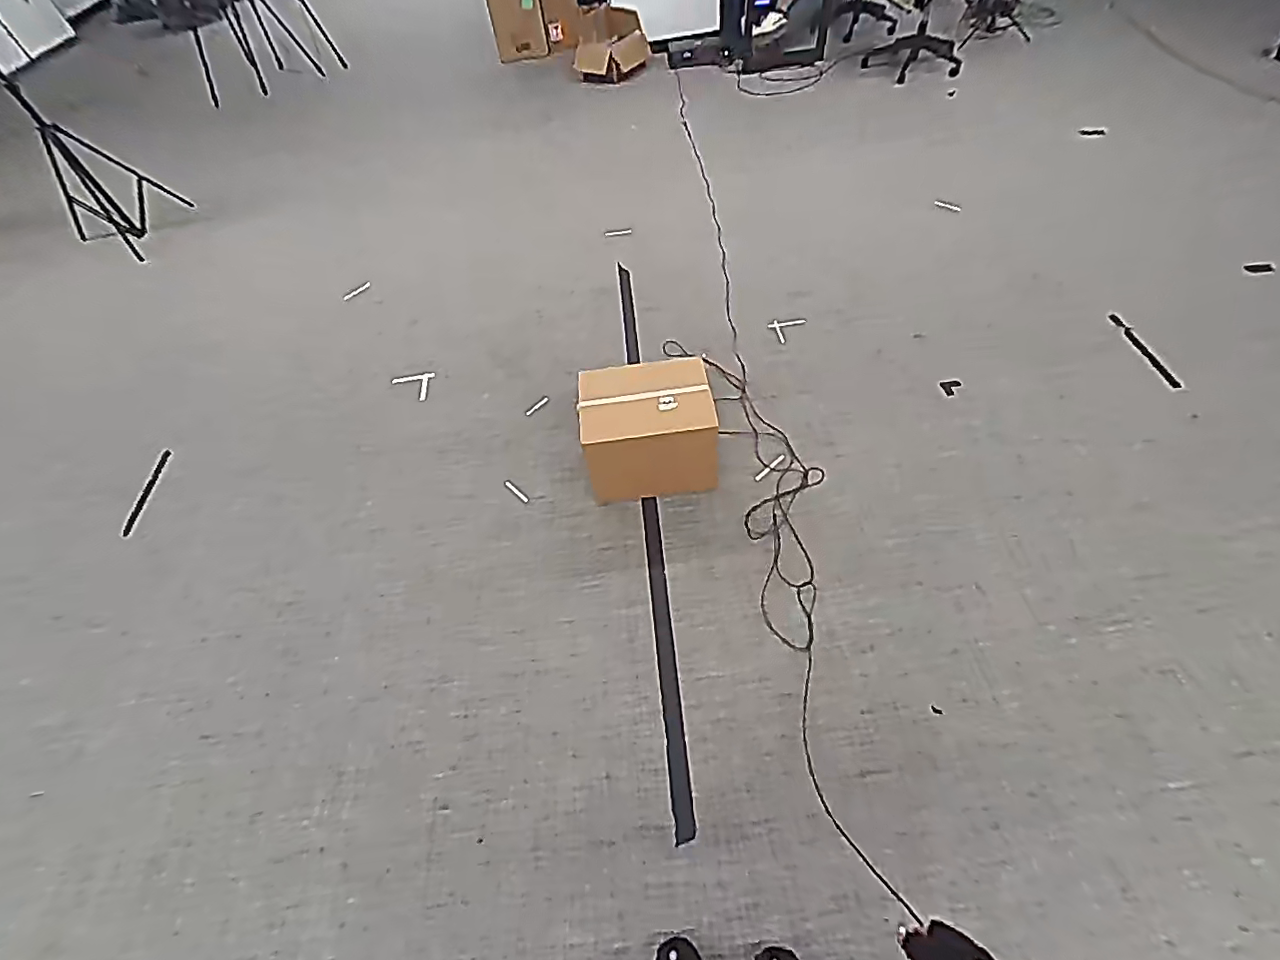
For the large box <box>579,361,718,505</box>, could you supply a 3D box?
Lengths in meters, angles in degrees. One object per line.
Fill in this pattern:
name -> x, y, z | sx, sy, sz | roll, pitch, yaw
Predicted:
large box -> 0.026, -0.148, 1.768 | 0.408, 0.320, 0.320 | -7, 53, 1
